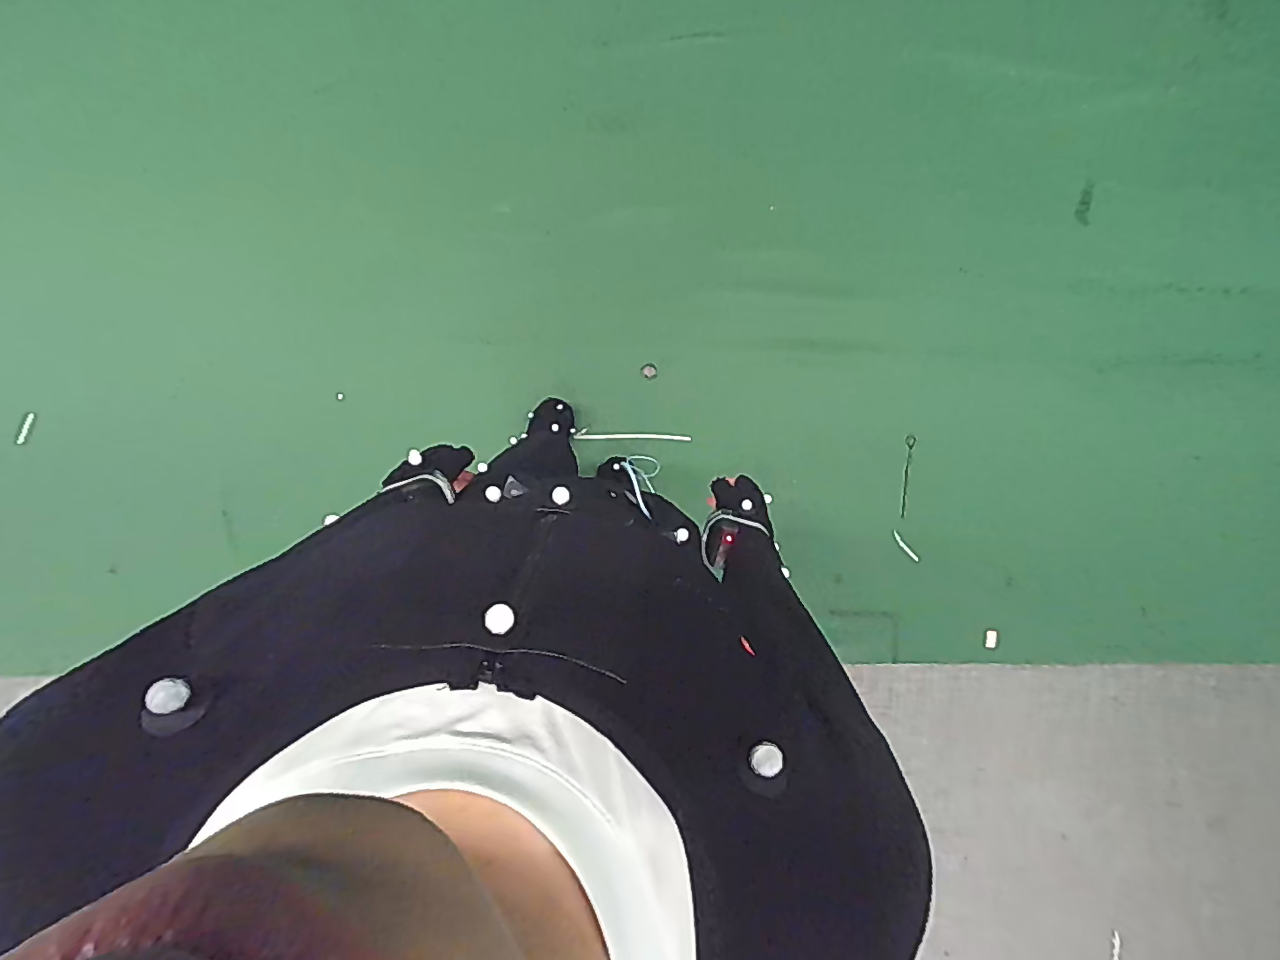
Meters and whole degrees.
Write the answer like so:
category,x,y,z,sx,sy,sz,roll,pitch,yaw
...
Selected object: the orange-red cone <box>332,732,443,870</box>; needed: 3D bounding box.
category,x,y,z,sx,sy,sz,roll,pitch,yaw
orange-red cone,-0.655,0.826,1.358,0.198,0.360,0.199,0,95,0
